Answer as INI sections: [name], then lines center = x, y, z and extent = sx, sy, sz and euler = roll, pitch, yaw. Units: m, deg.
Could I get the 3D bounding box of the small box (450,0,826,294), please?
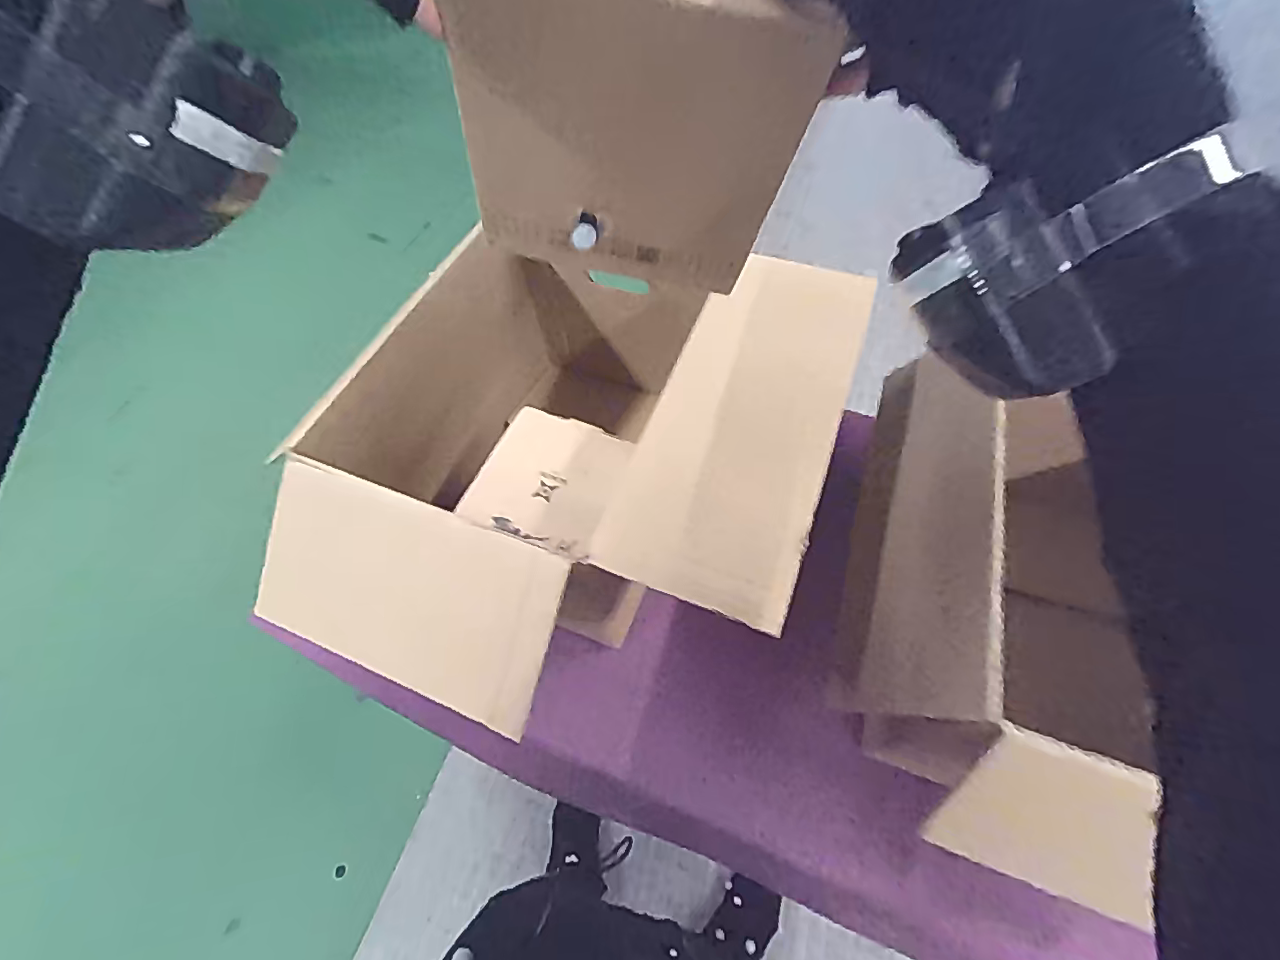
[small box]
center = -0.003, -0.246, 0.322
extent = 0.168, 0.176, 0.179
euler = 9, 71, -4
